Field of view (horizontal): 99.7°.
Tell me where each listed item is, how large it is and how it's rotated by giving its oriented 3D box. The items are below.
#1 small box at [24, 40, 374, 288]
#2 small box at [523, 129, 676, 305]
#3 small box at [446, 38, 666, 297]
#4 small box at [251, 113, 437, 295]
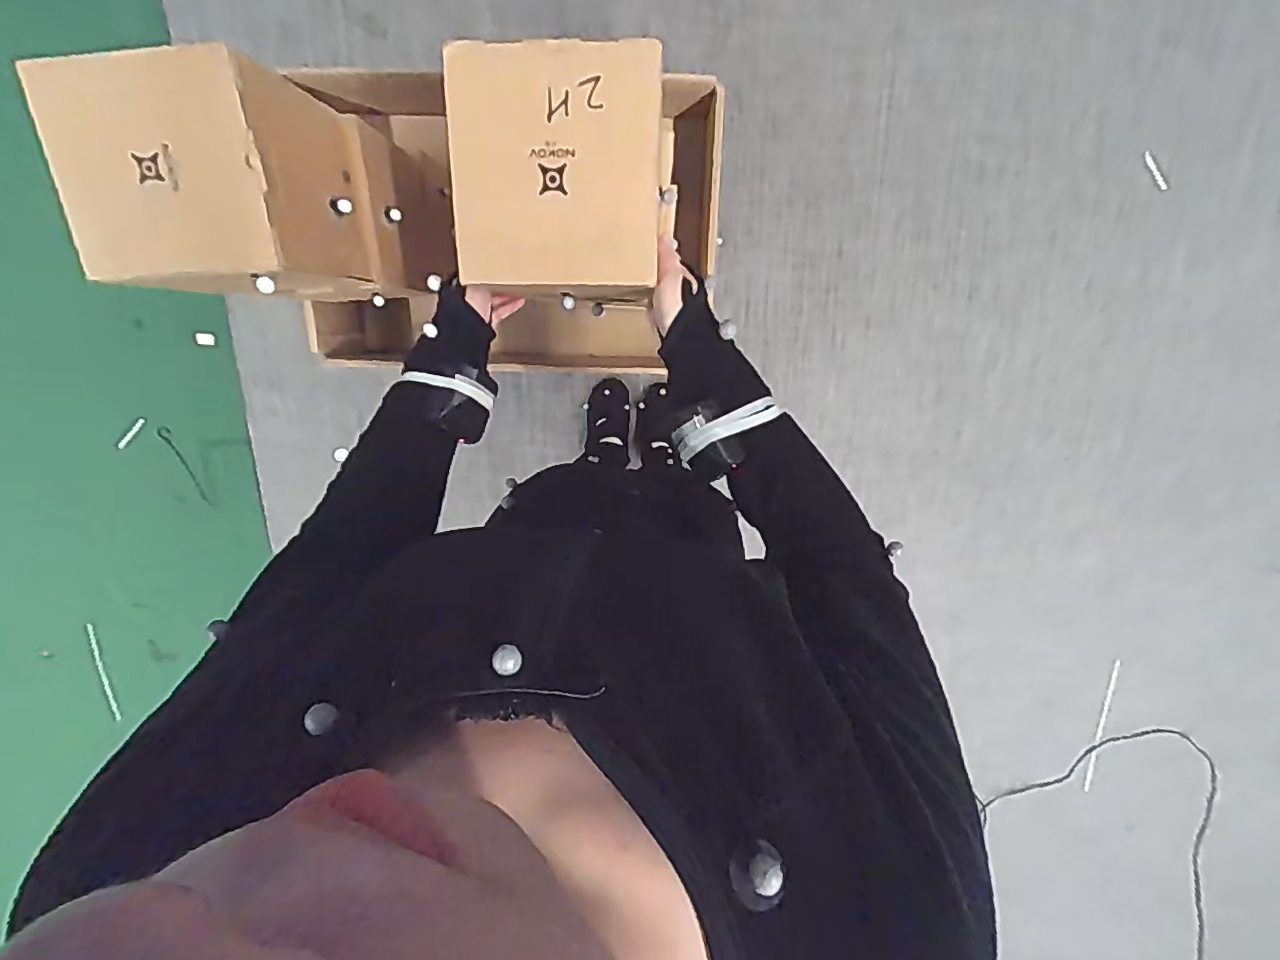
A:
[{"bbox_3d":[-0.391,-0.279,0.518,0.179,0.176,0.168,-3,107,1],"label":"small box"},{"bbox_3d":[-0.045,-0.312,0.663,0.168,0.176,0.179,4,107,0],"label":"small box"},{"bbox_3d":[-0.061,-0.264,0.498,0.168,0.176,0.179,1,106,1],"label":"small box"},{"bbox_3d":[-0.370,-0.326,0.673,0.168,0.176,0.179,-2,106,2],"label":"small box"}]
